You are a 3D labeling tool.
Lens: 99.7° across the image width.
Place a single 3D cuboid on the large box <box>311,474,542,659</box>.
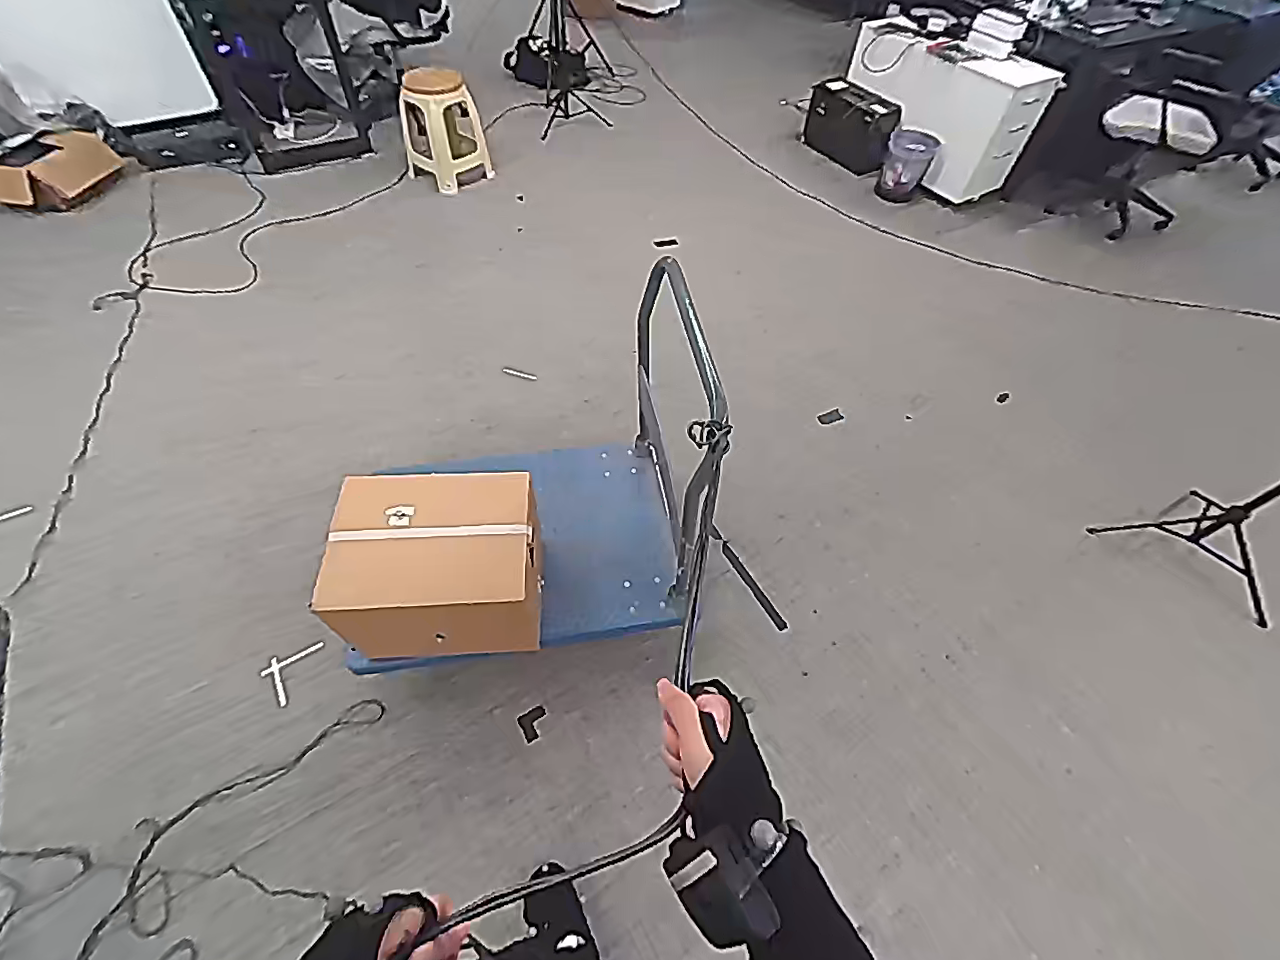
[{"bbox_3d":[-0.440,0.204,1.236,0.408,0.320,0.320,-2,55,-5],"label":"large box"}]
